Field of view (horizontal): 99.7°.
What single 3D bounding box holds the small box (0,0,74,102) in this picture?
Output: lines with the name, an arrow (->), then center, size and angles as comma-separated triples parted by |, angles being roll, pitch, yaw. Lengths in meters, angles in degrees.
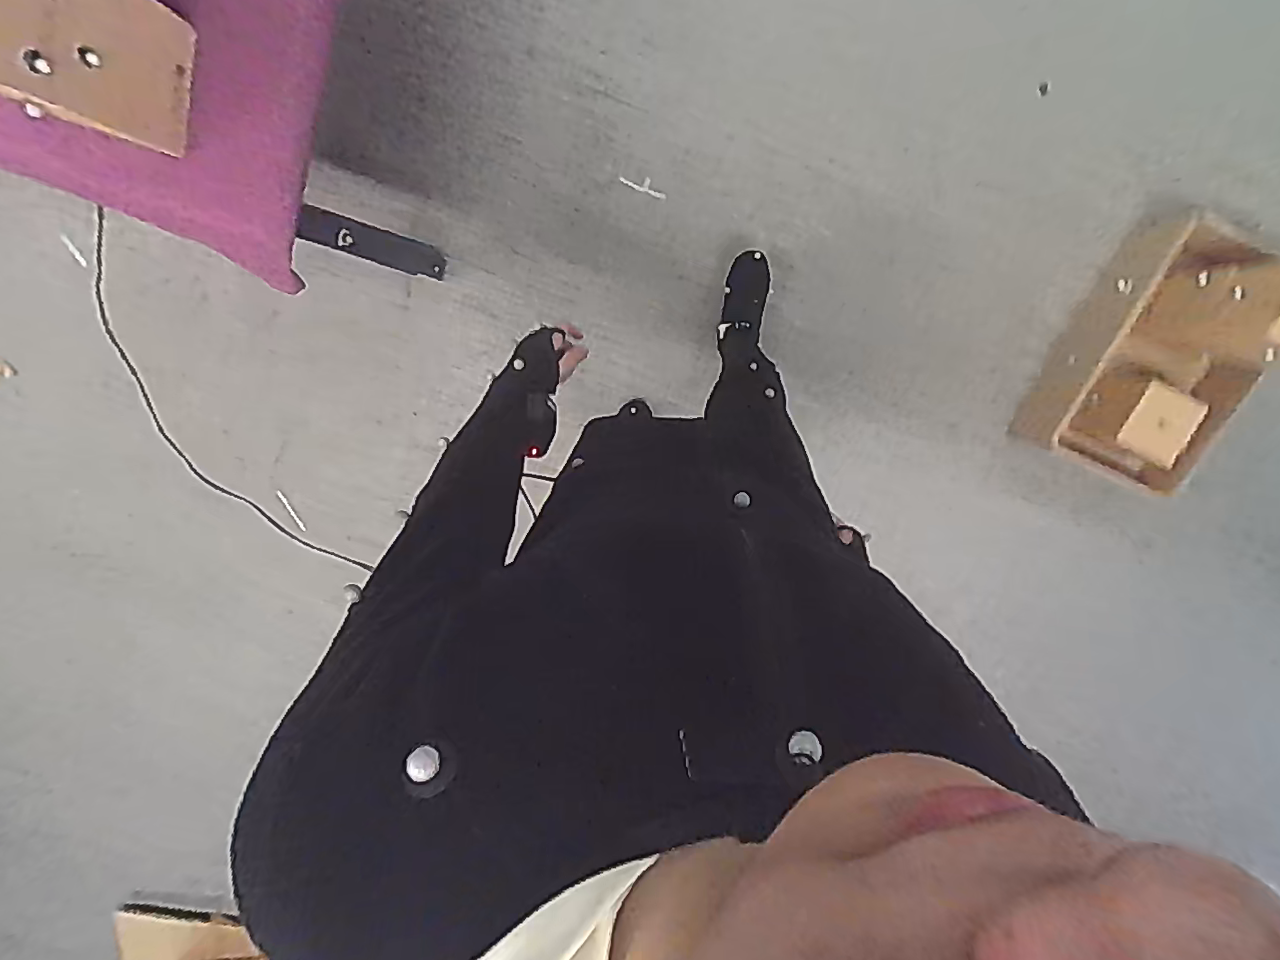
small box -> -0.693, -0.493, 0.504 | 0.179, 0.176, 0.168 | 18, 103, -3

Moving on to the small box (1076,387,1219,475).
small box -> 1.324, -0.137, 1.424 | 0.179, 0.176, 0.168 | 24, 102, -5

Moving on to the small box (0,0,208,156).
small box -> -0.691, -0.531, 0.664 | 0.179, 0.176, 0.168 | 18, 104, -3

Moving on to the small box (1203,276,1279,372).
small box -> 1.446, -0.345, 1.201 | 0.179, 0.176, 0.168 | 24, 104, -6
